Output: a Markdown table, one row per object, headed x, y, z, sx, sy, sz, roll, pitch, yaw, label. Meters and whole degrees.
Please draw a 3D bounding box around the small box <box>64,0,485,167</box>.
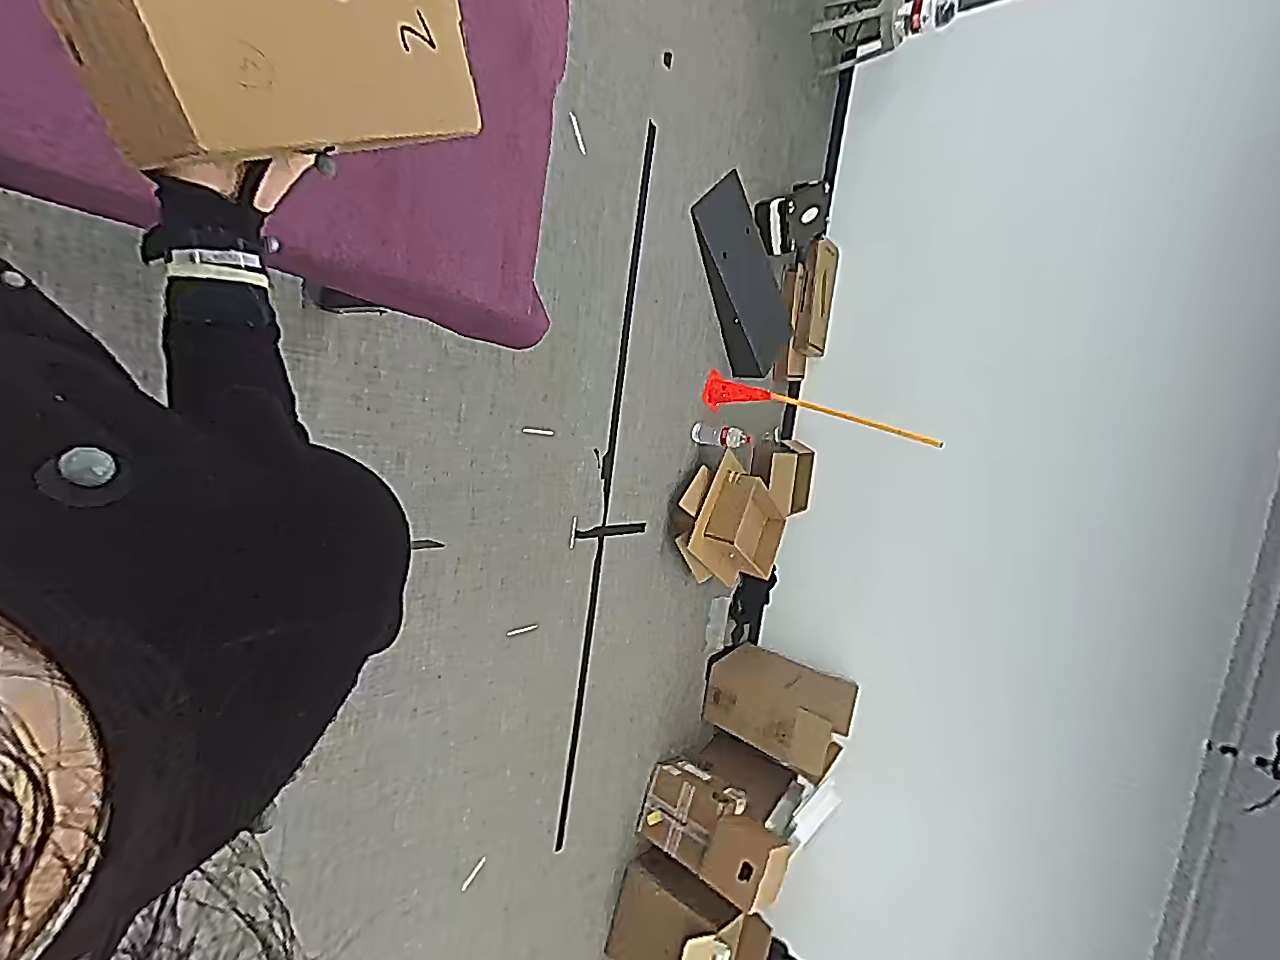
| x | y | z | sx | sy | sz | roll | pitch | yaw | label |
| --- | --- | --- | --- | --- | --- | --- | --- | --- | --- |
| -0.232 | -0.296 | 0.331 | 0.179 | 0.176 | 0.168 | -37 | 134 | -38 | small box |
